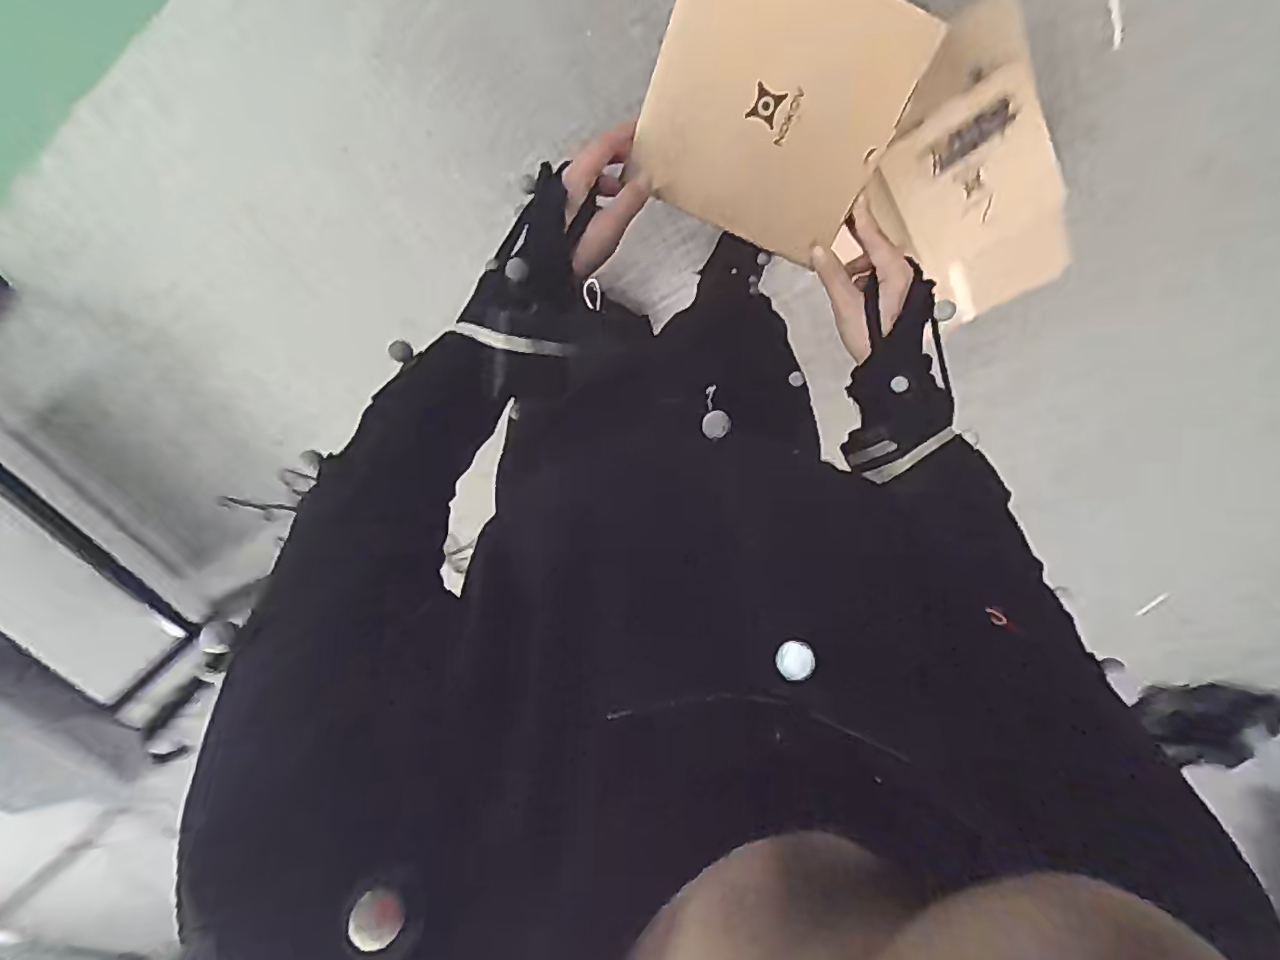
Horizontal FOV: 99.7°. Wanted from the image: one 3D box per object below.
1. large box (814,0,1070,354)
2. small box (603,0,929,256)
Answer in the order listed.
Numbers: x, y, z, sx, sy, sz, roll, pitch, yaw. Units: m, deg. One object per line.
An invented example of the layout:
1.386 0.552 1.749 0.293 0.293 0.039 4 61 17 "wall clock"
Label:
0.457 -0.506 0.942 0.320 0.320 0.408 -23 116 22 "large box"
0.086 -0.308 0.447 0.179 0.176 0.168 19 120 -7 "small box"
